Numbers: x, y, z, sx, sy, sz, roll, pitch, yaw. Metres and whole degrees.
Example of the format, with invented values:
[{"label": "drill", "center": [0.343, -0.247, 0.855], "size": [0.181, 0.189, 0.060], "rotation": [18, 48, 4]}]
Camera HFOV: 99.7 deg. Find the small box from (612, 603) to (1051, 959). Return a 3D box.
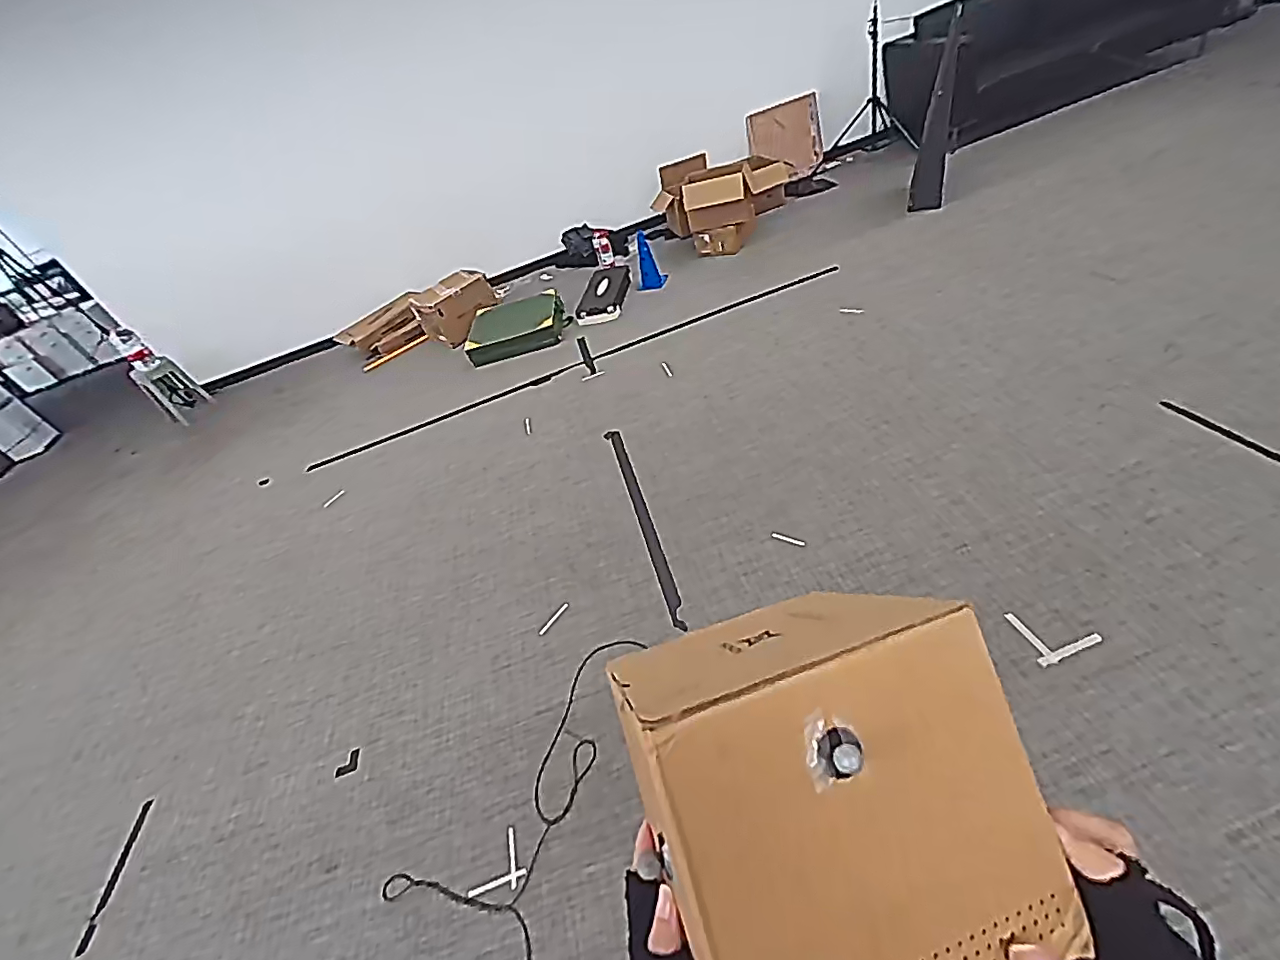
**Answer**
[{"label": "small box", "center": [0.095, 0.186, 0.332], "size": [0.179, 0.168, 0.176], "rotation": [-15, 83, -11]}]
